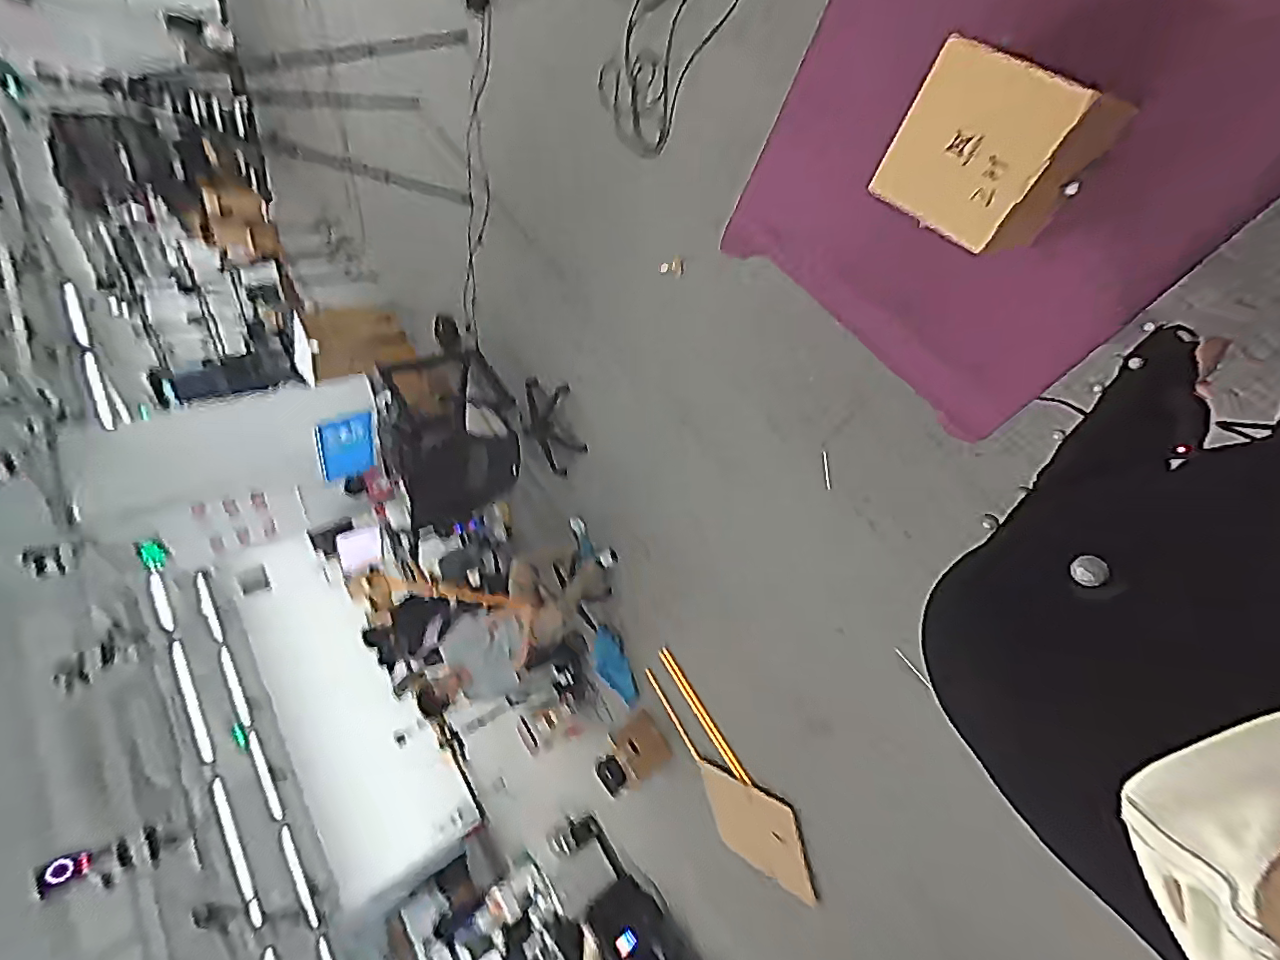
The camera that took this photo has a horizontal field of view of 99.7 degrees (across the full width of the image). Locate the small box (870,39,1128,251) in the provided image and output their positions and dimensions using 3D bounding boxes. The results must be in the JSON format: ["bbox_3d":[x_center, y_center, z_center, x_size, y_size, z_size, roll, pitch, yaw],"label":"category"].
[{"bbox_3d":[0.437,-0.406,0.670,0.179,0.176,0.168,50,142,26],"label":"small box"}]
